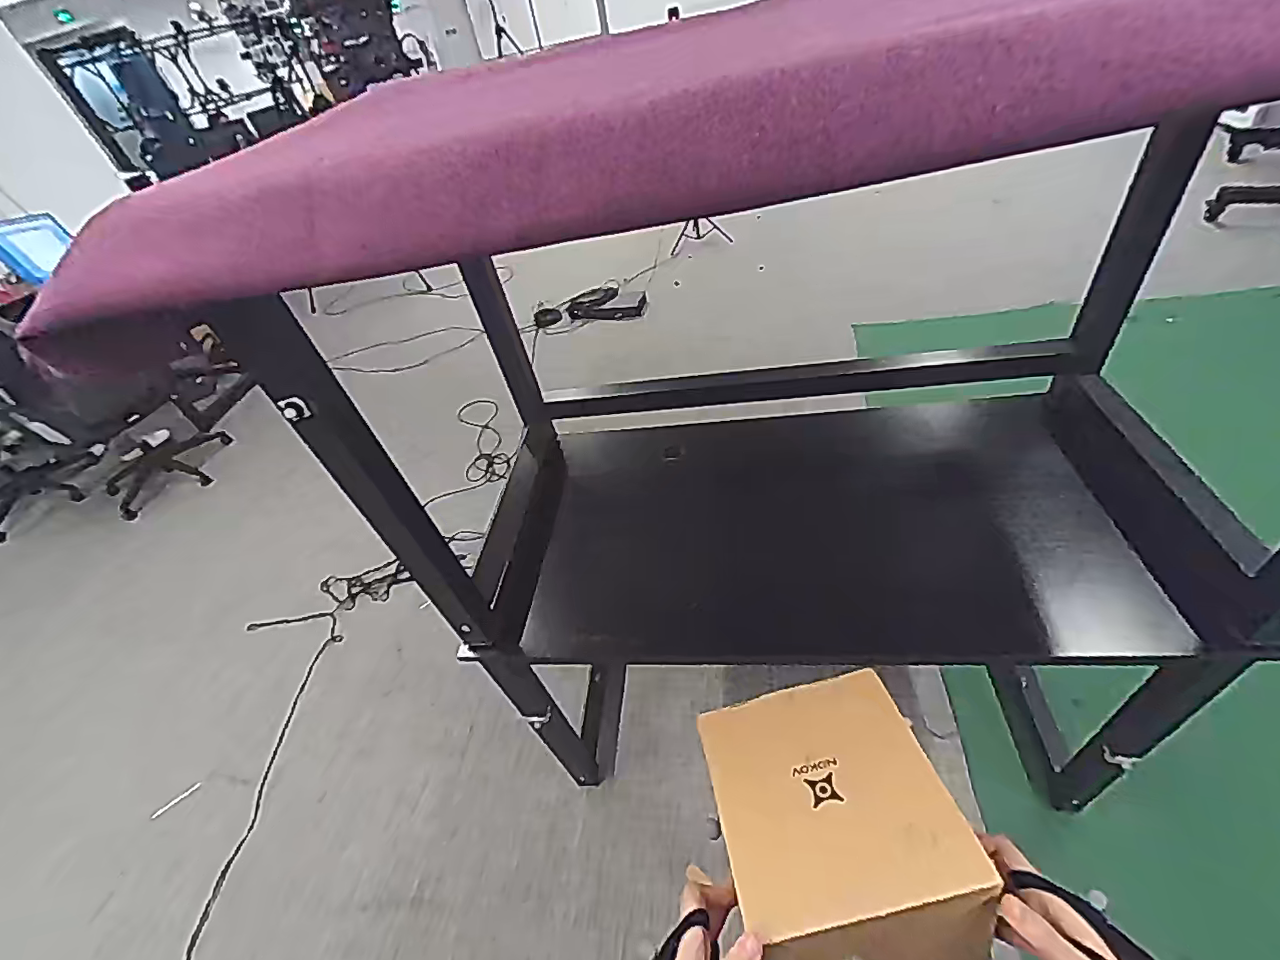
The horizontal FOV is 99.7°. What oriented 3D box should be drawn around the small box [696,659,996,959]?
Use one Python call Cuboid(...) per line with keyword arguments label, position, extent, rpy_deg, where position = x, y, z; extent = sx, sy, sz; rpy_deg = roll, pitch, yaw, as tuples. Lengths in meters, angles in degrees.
Cuboid(label="small box", position=(0.158, 0.288, 0.447), extent=(0.168, 0.176, 0.179), rpy_deg=(-16, 28, 2))
